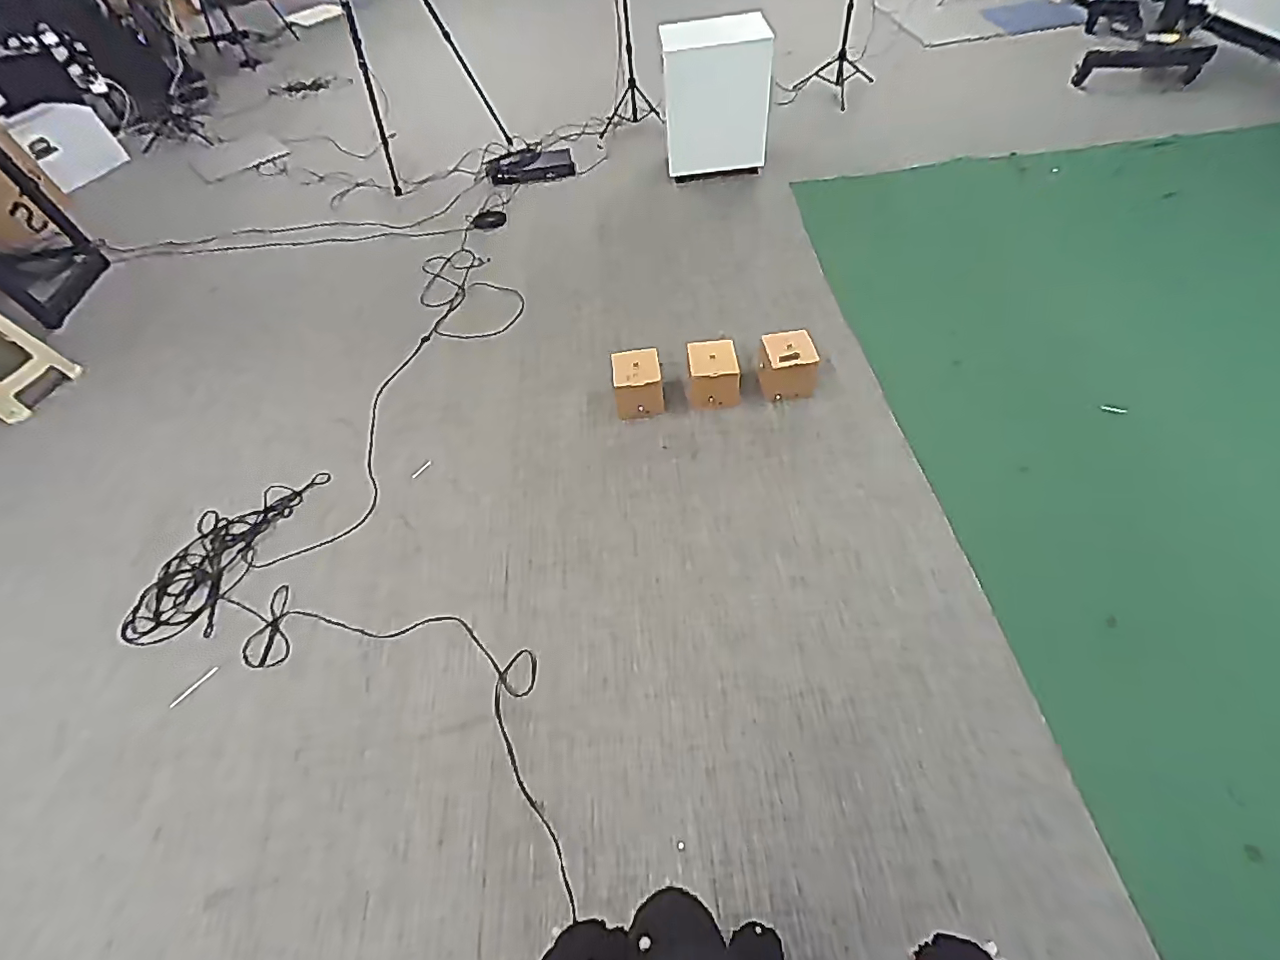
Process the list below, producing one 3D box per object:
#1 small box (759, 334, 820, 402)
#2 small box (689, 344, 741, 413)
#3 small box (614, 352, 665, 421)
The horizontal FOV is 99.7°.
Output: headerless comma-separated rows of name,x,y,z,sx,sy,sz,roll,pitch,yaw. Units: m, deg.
small box,0.533,-0.396,1.947,0.168,0.176,0.179,-8,53,0
small box,0.266,-0.366,1.955,0.168,0.176,0.179,-5,54,2
small box,0.000,-0.337,1.959,0.168,0.176,0.179,-8,54,2
